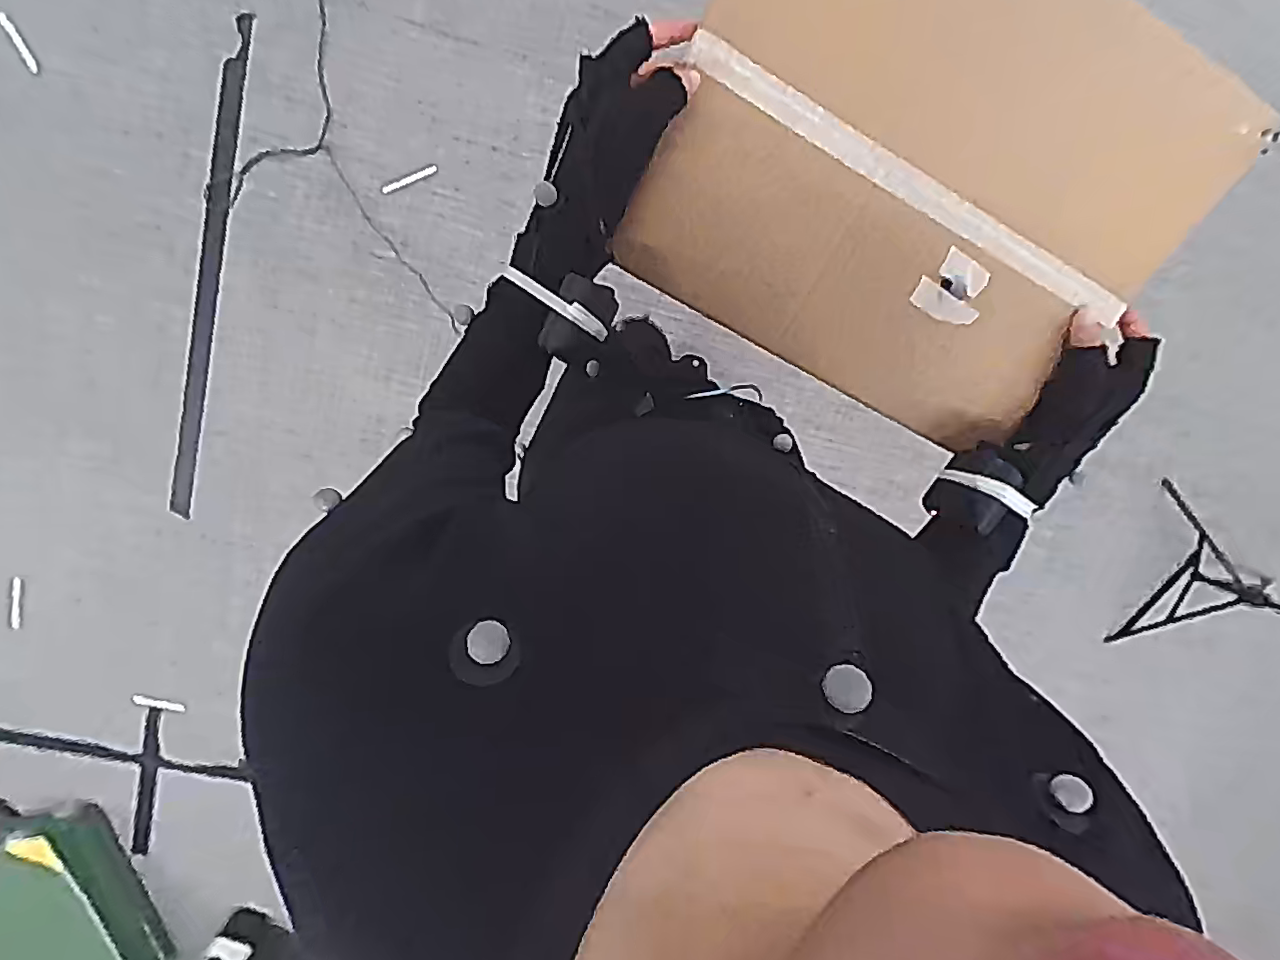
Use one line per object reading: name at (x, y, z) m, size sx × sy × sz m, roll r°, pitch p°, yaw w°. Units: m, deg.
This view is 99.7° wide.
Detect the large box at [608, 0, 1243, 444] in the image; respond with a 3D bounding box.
large box at (0.215, -0.298, 0.567) m, size 0.408 × 0.320 × 0.320 m, roll 25°, pitch 114°, yaw -10°
